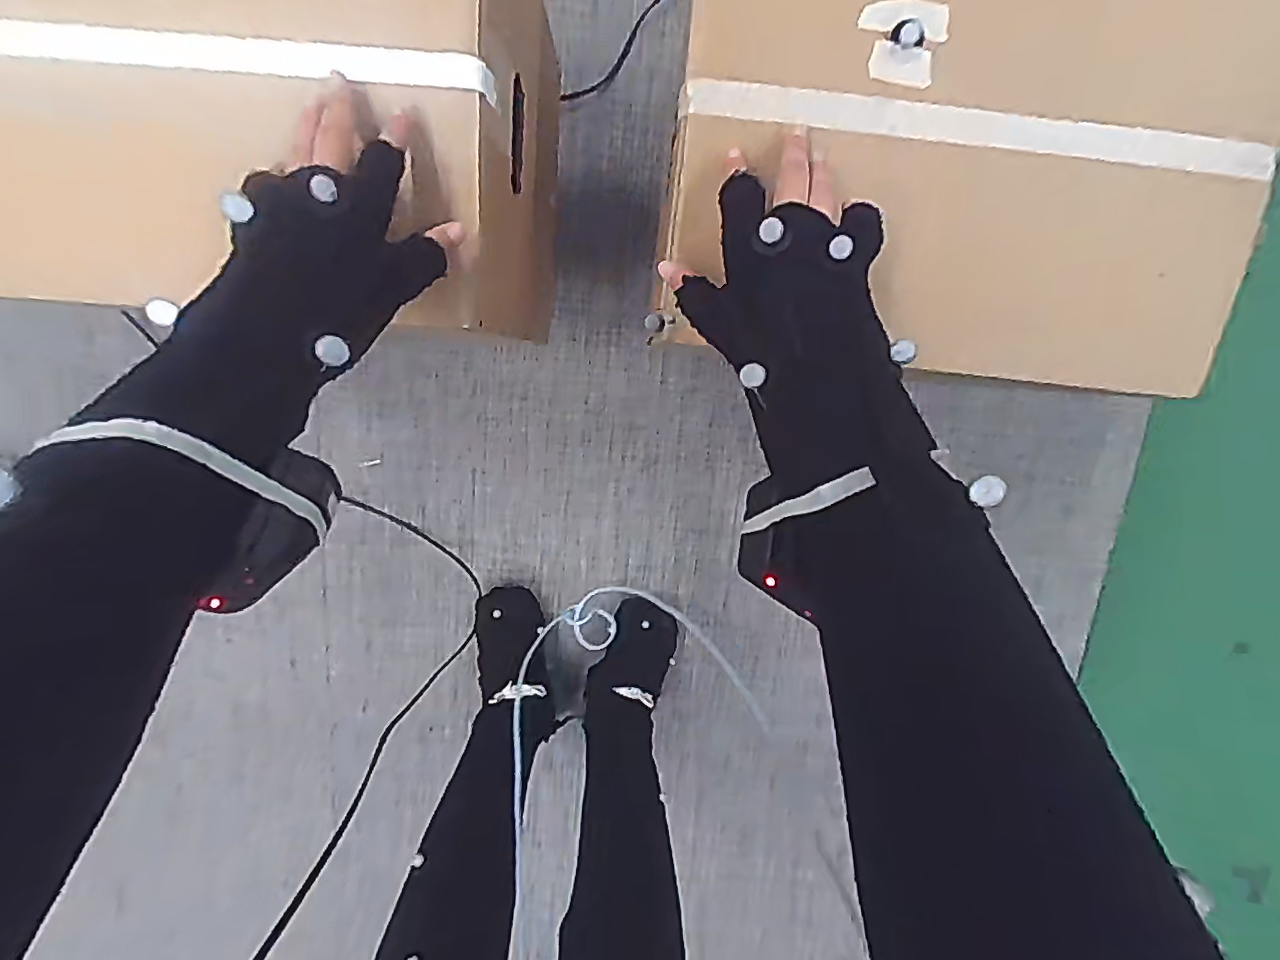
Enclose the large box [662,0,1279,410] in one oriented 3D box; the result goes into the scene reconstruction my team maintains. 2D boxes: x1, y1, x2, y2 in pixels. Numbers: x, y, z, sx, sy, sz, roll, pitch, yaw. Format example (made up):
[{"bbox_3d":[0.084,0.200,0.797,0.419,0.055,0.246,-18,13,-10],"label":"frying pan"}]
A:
[{"bbox_3d":[0.240,-0.255,0.540,0.408,0.320,0.320,6,101,-1],"label":"large box"}]
